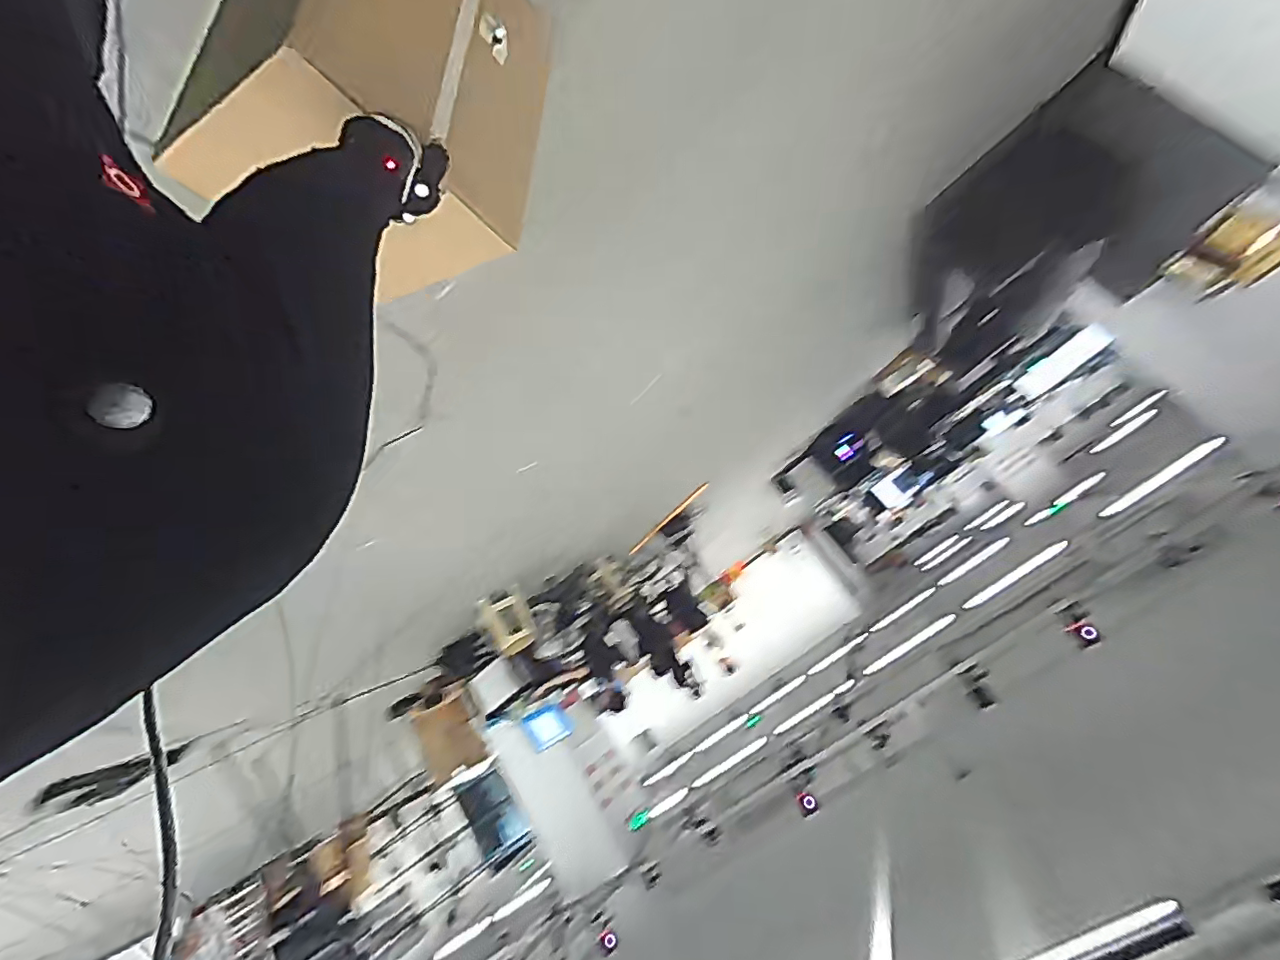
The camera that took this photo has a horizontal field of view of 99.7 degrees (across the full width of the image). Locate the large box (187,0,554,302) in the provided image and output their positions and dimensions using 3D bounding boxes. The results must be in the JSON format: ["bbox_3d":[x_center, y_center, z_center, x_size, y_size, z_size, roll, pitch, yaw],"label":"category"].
[{"bbox_3d":[-0.355,-0.536,0.767,0.320,0.408,0.320,-6,161,31],"label":"large box"}]
